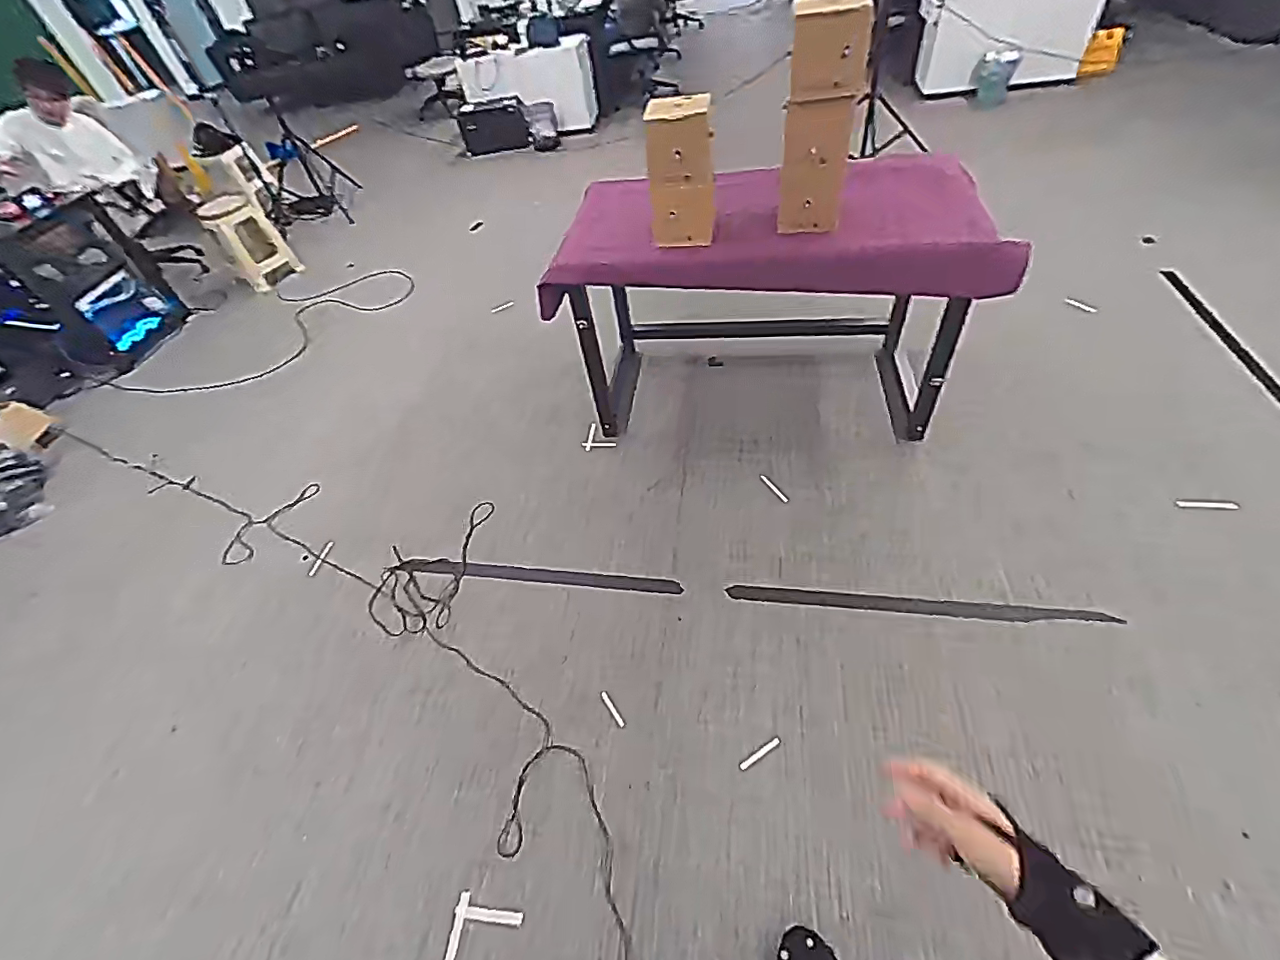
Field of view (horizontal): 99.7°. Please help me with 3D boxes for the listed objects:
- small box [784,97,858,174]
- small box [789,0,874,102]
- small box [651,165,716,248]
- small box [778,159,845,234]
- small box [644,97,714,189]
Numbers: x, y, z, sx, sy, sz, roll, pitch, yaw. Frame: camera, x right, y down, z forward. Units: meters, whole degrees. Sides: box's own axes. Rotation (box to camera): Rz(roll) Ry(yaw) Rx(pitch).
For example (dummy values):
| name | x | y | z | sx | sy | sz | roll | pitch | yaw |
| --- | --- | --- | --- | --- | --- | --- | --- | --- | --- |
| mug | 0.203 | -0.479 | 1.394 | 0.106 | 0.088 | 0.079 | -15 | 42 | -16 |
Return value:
| name | x | y | z | sx | sy | sz | roll | pitch | yaw |
| --- | --- | --- | --- | --- | --- | --- | --- | --- | --- |
| small box | 0.468 | -0.927 | 1.419 | 0.168 | 0.176 | 0.179 | 4 | 50 | 13 |
| small box | 0.446 | -1.016 | 1.283 | 0.168 | 0.176 | 0.179 | 2 | 49 | 10 |
| small box | 0.133 | -0.792 | 1.580 | 0.168 | 0.176 | 0.179 | 3 | 49 | 12 |
| small box | 0.486 | -0.817 | 1.539 | 0.168 | 0.176 | 0.179 | 5 | 50 | 13 |
| small box | 0.112 | -0.905 | 1.463 | 0.168 | 0.176 | 0.179 | 1 | 49 | 10 |
